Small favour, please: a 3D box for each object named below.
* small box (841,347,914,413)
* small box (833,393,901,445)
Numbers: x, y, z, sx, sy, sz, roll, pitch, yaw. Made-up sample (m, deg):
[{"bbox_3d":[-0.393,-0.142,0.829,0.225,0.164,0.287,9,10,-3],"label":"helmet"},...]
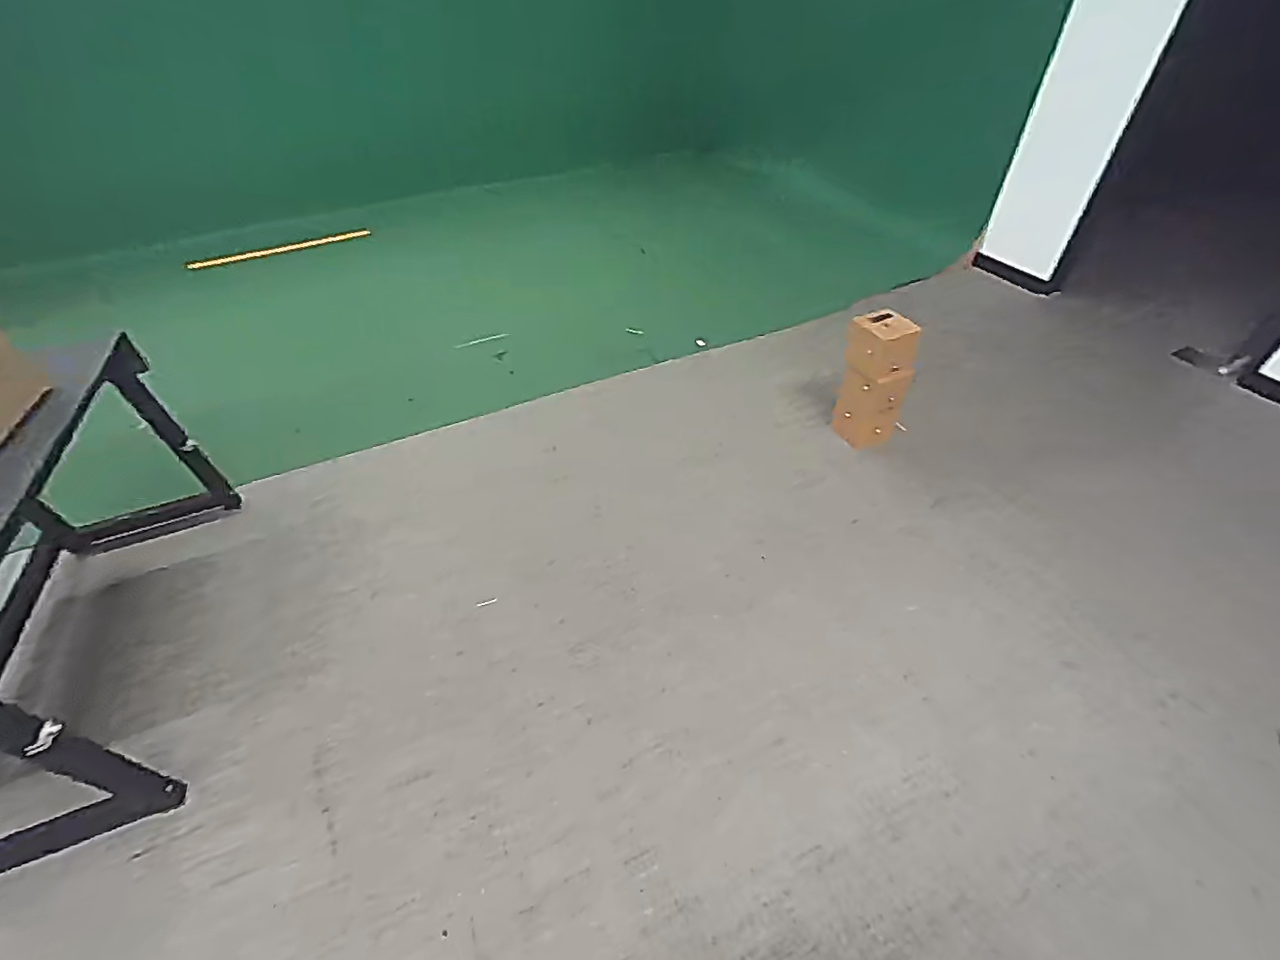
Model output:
[{"bbox_3d":[0.897,-0.373,2.056,0.168,0.176,0.179,-20,47,-15],"label":"small box"},{"bbox_3d":[0.907,-0.261,2.178,0.168,0.176,0.179,-21,47,-15],"label":"small box"}]
